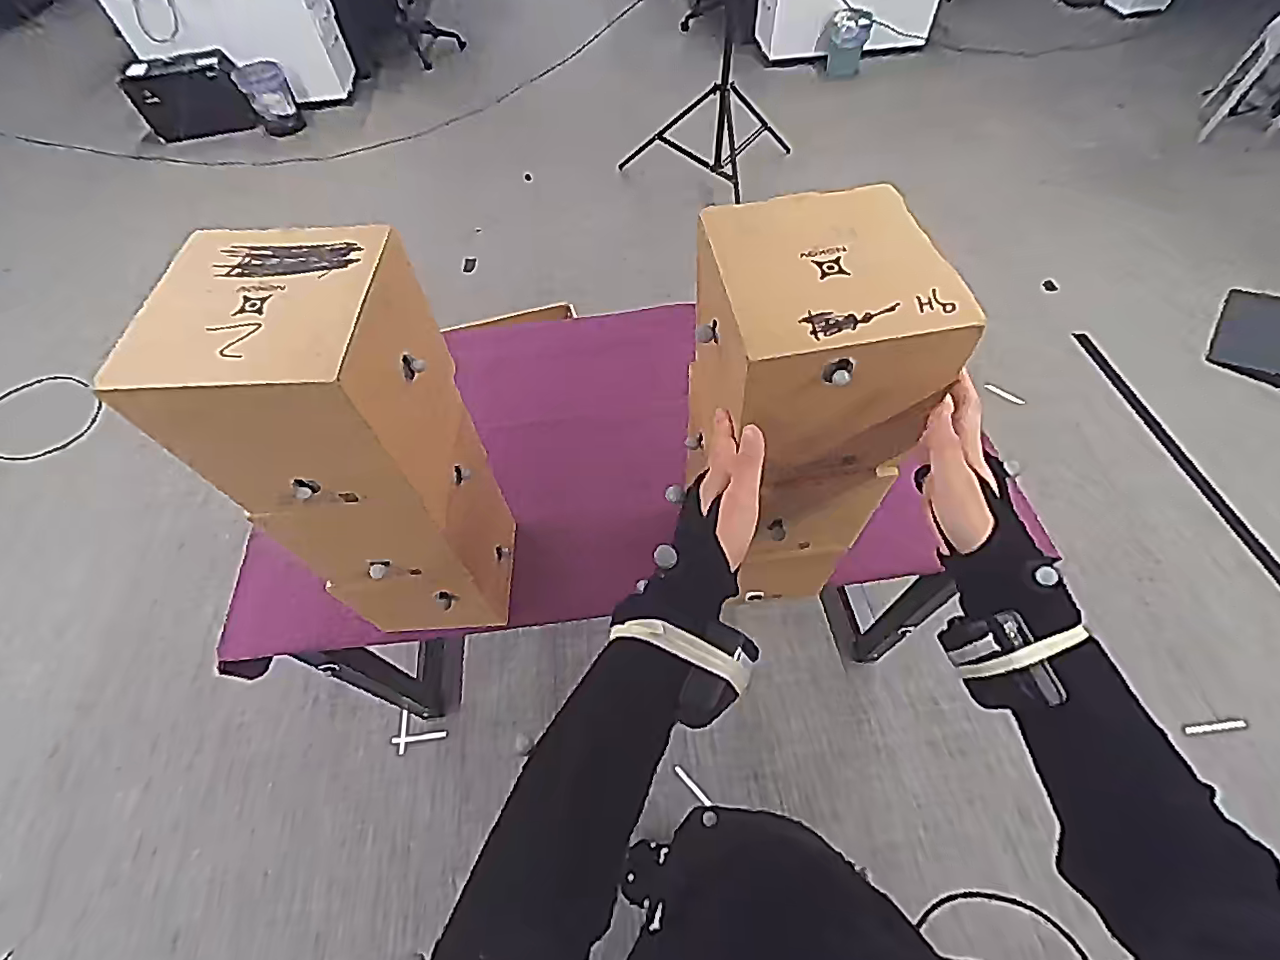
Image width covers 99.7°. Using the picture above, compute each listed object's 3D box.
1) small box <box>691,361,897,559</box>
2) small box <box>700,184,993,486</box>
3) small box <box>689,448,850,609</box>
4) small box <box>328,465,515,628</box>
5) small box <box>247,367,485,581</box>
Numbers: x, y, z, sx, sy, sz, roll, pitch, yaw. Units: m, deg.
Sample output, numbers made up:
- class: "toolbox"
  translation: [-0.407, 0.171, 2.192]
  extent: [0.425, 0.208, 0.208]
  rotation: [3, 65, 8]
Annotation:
- class: "small box"
  translation: [0.151, -0.023, 0.600]
  extent: [0.168, 0.176, 0.179]
  rotation: [-8, 58, 0]
- class: "small box"
  translation: [0.147, -0.119, 0.466]
  extent: [0.168, 0.176, 0.179]
  rotation: [-9, 57, -1]
- class: "small box"
  translation: [0.160, 0.060, 0.740]
  extent: [0.168, 0.176, 0.179]
  rotation: [-7, 59, 0]
- class: "small box"
  translation: [-0.276, 0.095, 0.735]
  extent: [0.179, 0.176, 0.168]
  rotation: [-3, 57, 1]
- class: "small box"
  translation: [-0.279, -0.002, 0.602]
  extent: [0.168, 0.176, 0.179]
  rotation: [-4, 58, 0]
